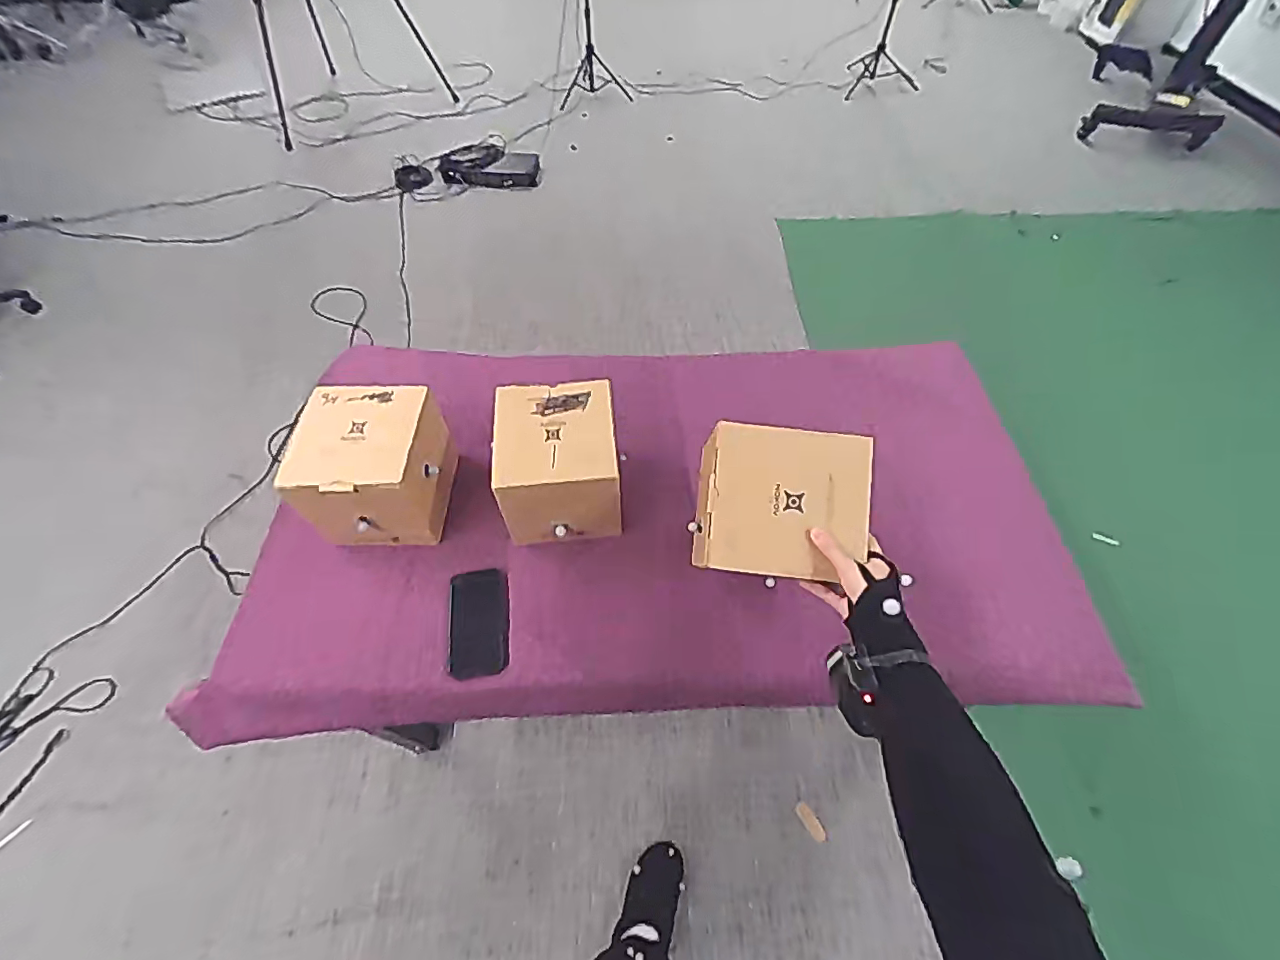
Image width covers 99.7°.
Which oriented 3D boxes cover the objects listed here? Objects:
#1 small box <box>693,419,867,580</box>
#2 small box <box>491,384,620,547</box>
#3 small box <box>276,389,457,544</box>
[{"bbox_3d":[0.163,0.032,0.677,0.179,0.176,0.168,7,81,3],"label":"small box"},{"bbox_3d":[-0.117,-0.019,0.806,0.168,0.176,0.179,-5,56,-3],"label":"small box"},{"bbox_3d":[-0.385,-0.014,0.803,0.168,0.176,0.179,0,56,0],"label":"small box"}]
